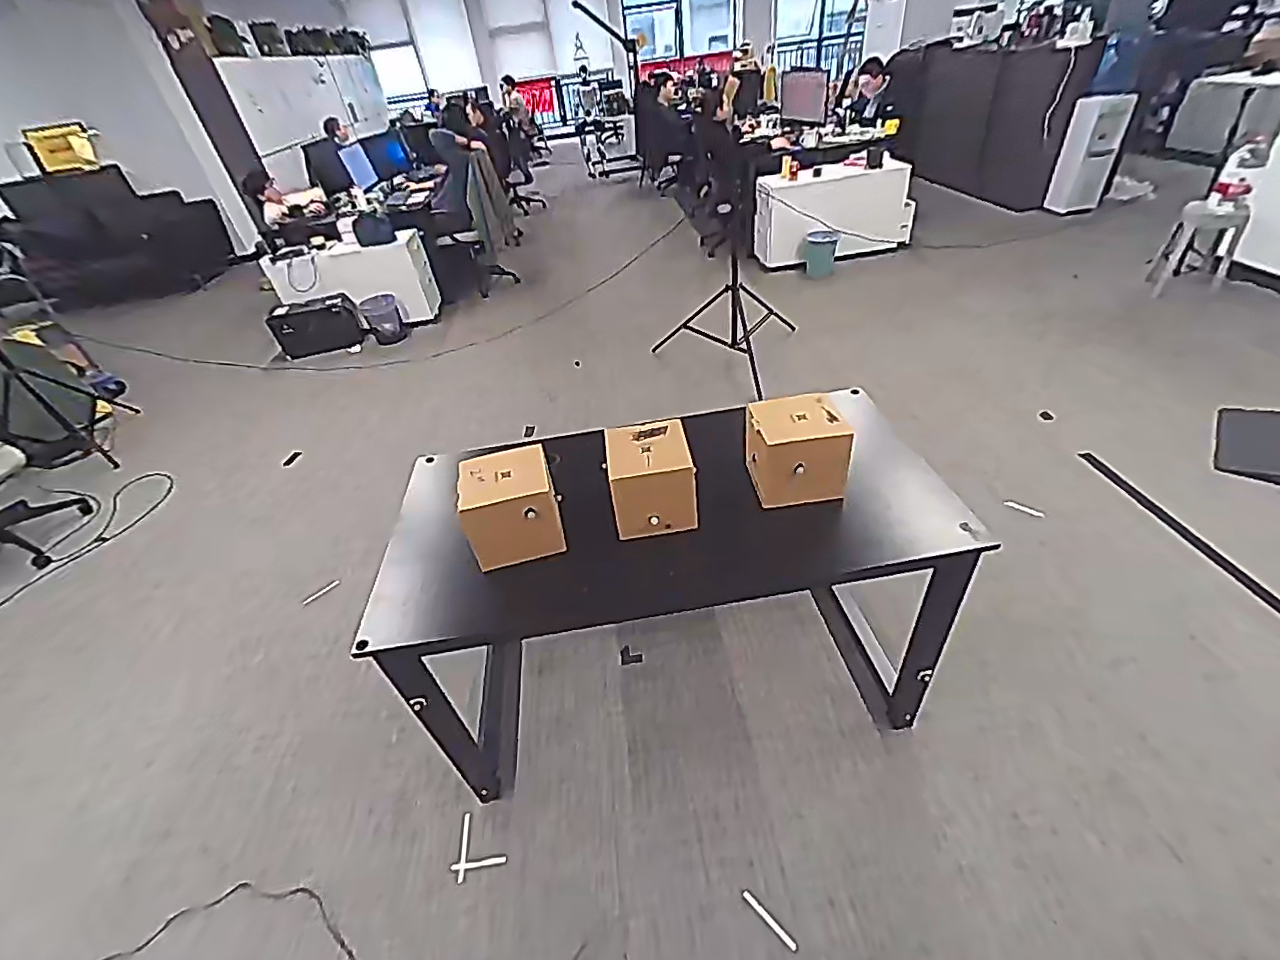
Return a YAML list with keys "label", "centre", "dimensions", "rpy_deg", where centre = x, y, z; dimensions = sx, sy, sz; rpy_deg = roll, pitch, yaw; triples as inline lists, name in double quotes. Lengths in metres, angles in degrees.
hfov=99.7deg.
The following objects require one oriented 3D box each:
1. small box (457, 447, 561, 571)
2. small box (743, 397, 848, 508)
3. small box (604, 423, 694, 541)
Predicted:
- label: "small box"
  centre: [-0.266, 0.061, 1.122]
  dimensions: [0.179, 0.176, 0.168]
  rpy_deg: [-14, 39, -7]
- label: "small box"
  centre: [0.326, -0.056, 1.160]
  dimensions: [0.179, 0.176, 0.168]
  rpy_deg: [-8, 39, 1]
- label: "small box"
  centre: [0.018, 0.003, 1.143]
  dimensions: [0.168, 0.176, 0.179]
  rpy_deg: [-9, 40, 0]
